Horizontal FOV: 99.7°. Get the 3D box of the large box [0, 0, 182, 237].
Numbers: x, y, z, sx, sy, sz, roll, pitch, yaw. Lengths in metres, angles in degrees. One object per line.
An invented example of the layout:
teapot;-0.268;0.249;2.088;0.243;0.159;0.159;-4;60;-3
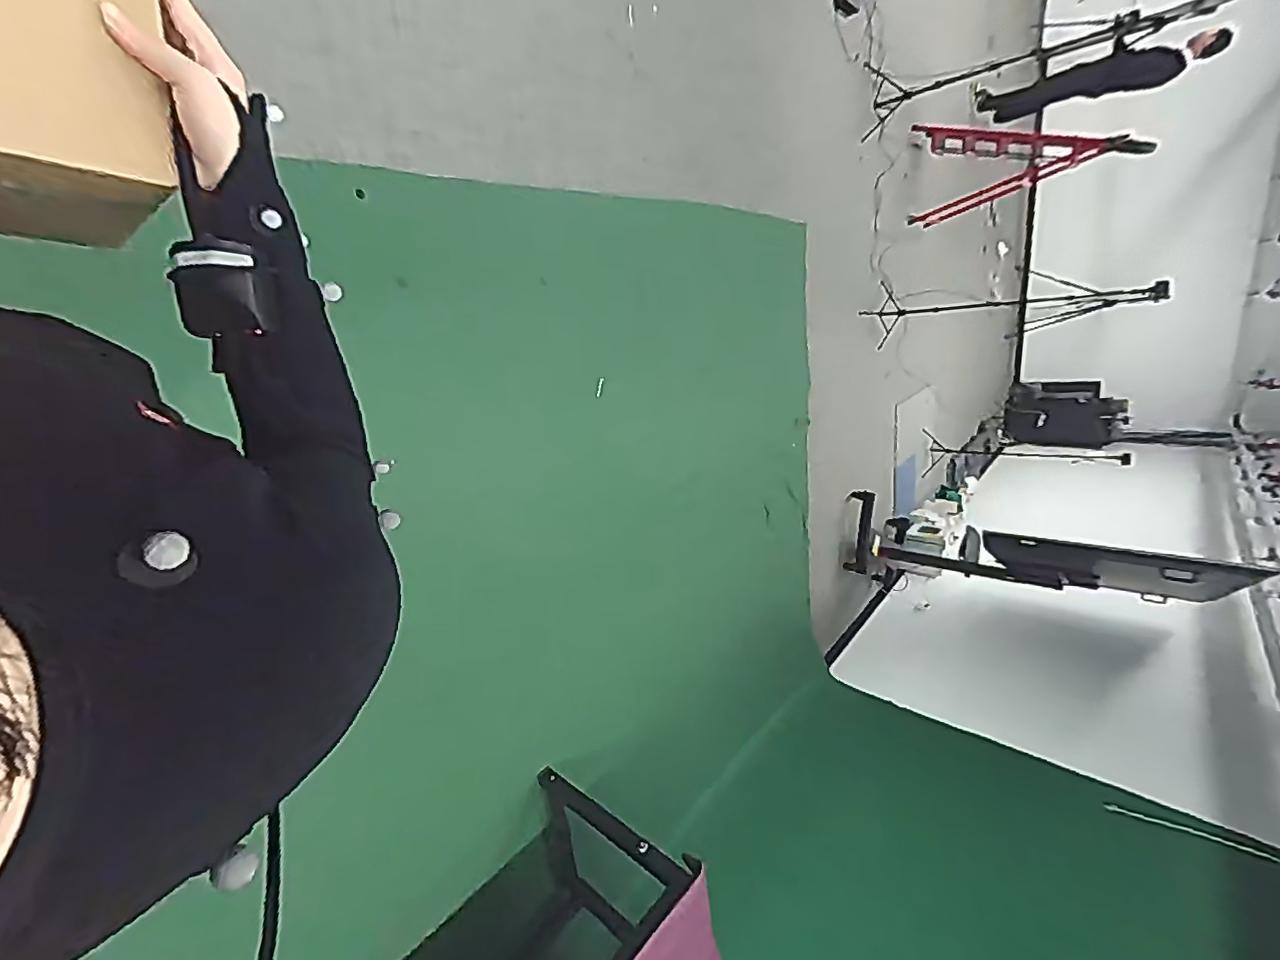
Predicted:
large box;-0.574;-0.357;0.308;0.408;0.320;0.320;-12;108;-49
